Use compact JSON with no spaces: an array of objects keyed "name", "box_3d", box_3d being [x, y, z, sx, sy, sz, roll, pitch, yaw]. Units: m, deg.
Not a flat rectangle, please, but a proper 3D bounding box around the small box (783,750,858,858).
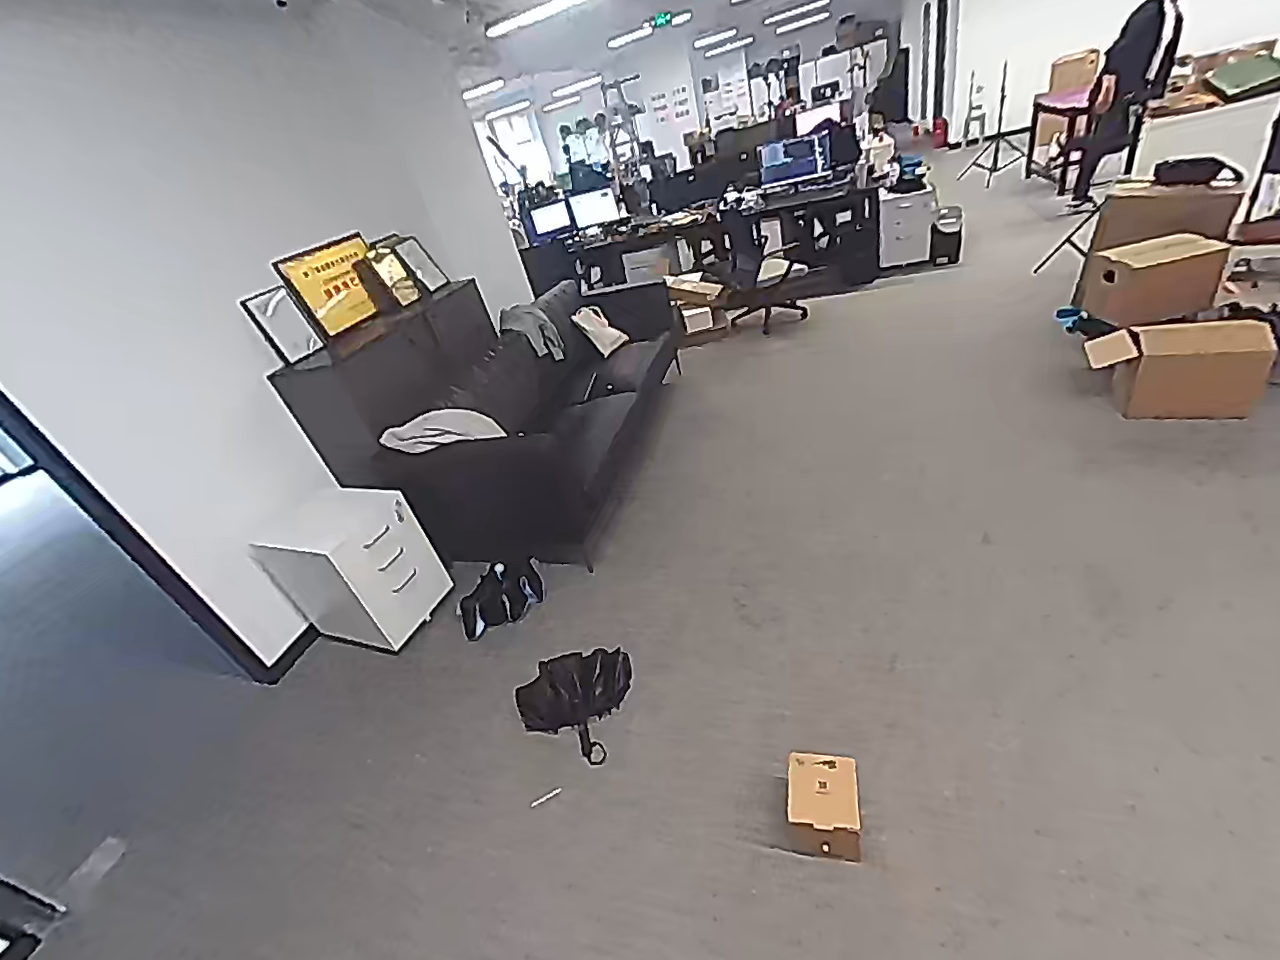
[{"name":"small box","box_3d":[0.461,0.824,1.376,0.168,0.176,0.179,-3,35,19]}]
